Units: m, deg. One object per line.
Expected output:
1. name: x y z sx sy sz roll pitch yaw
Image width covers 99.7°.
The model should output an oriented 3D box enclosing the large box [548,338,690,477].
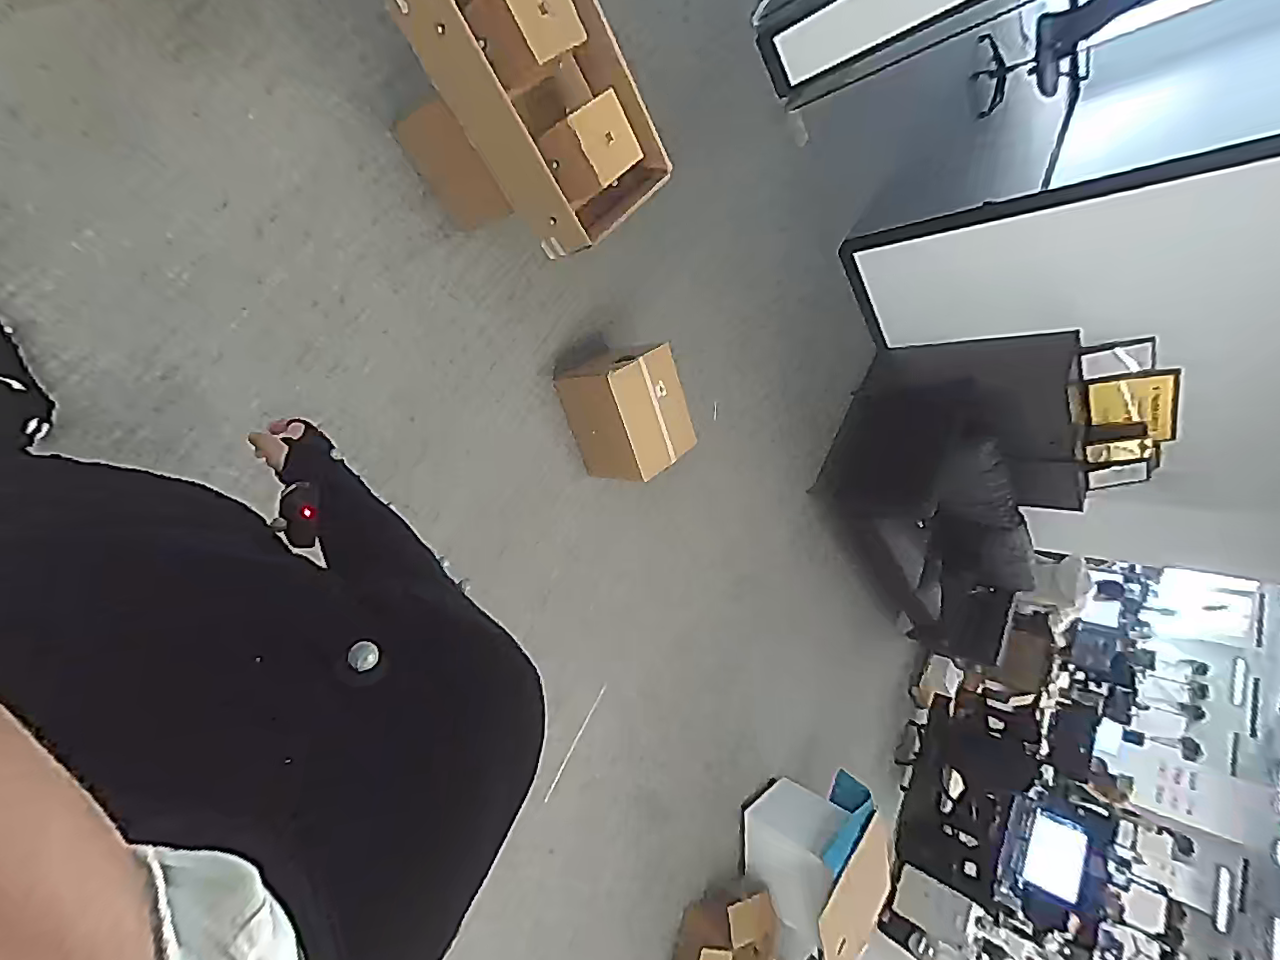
1. large box: -0.074 -0.265 1.991 0.320 0.320 0.408 -38 119 -36

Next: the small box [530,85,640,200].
1. small box: -0.139 -0.837 1.352 0.179 0.176 0.168 -52 128 -25
